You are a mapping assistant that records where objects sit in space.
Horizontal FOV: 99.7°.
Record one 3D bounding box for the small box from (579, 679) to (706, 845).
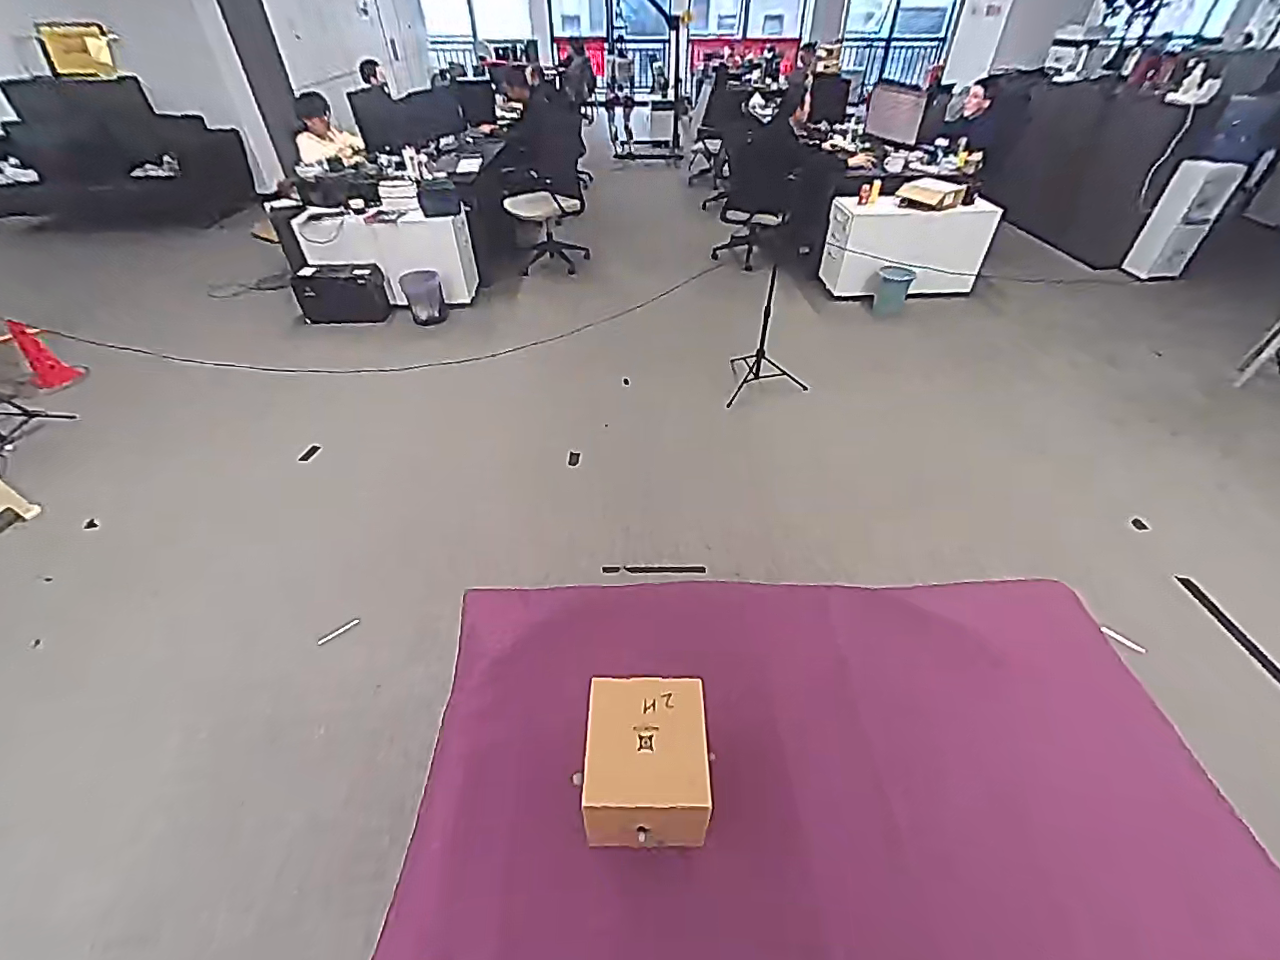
[{"bbox_3d":[0.006,0.415,0.795,0.168,0.176,0.179,1,41,0],"label":"small box"}]
